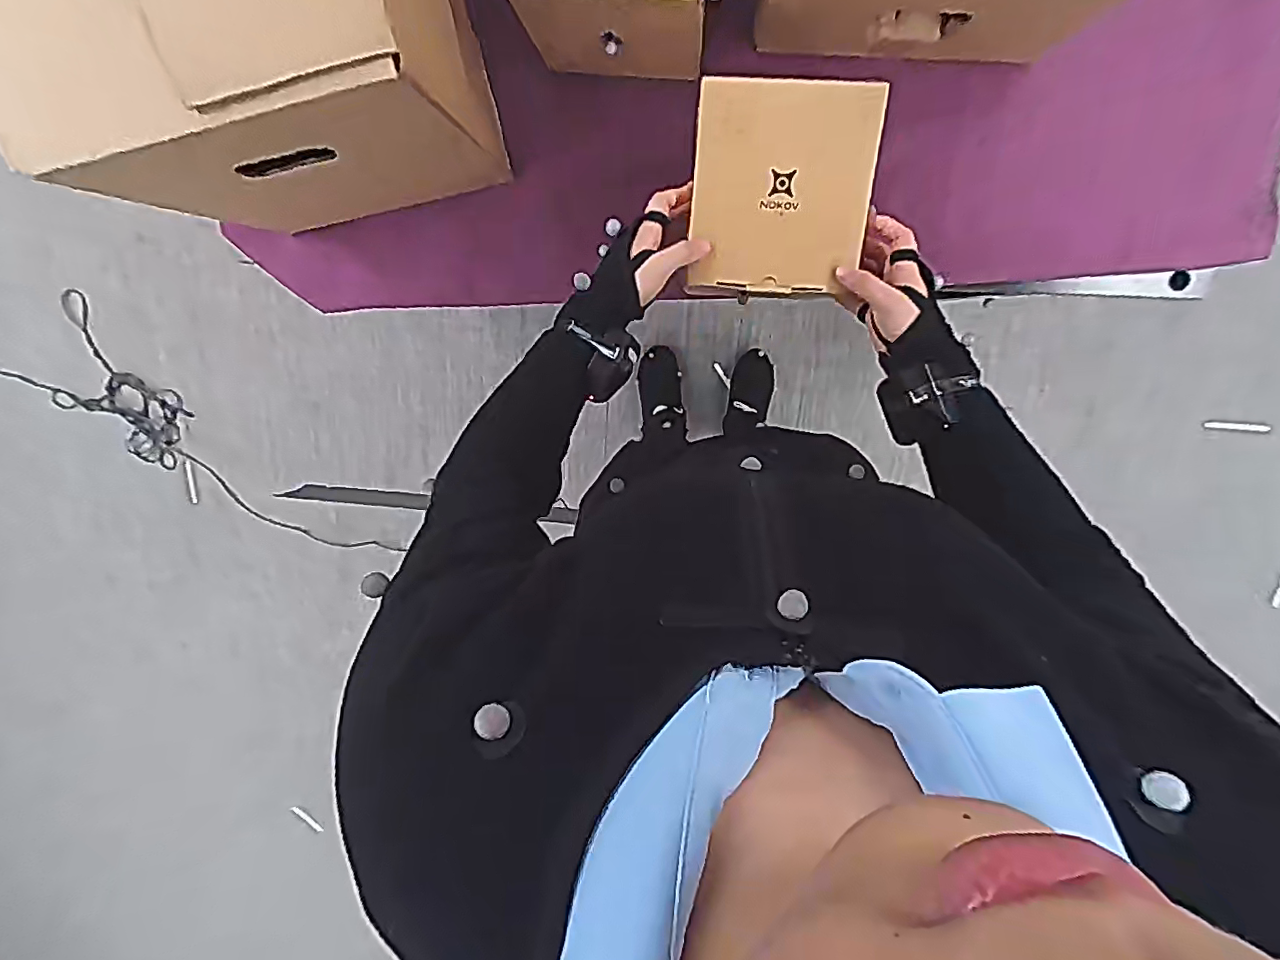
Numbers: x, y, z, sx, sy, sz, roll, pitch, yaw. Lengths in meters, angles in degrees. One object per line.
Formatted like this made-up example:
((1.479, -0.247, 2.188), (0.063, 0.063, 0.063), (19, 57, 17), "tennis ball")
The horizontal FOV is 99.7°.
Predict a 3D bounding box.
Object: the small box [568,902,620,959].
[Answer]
((-0.165, 1.674, 1.953), (0.168, 0.176, 0.179), (3, 107, 4), "small box")
